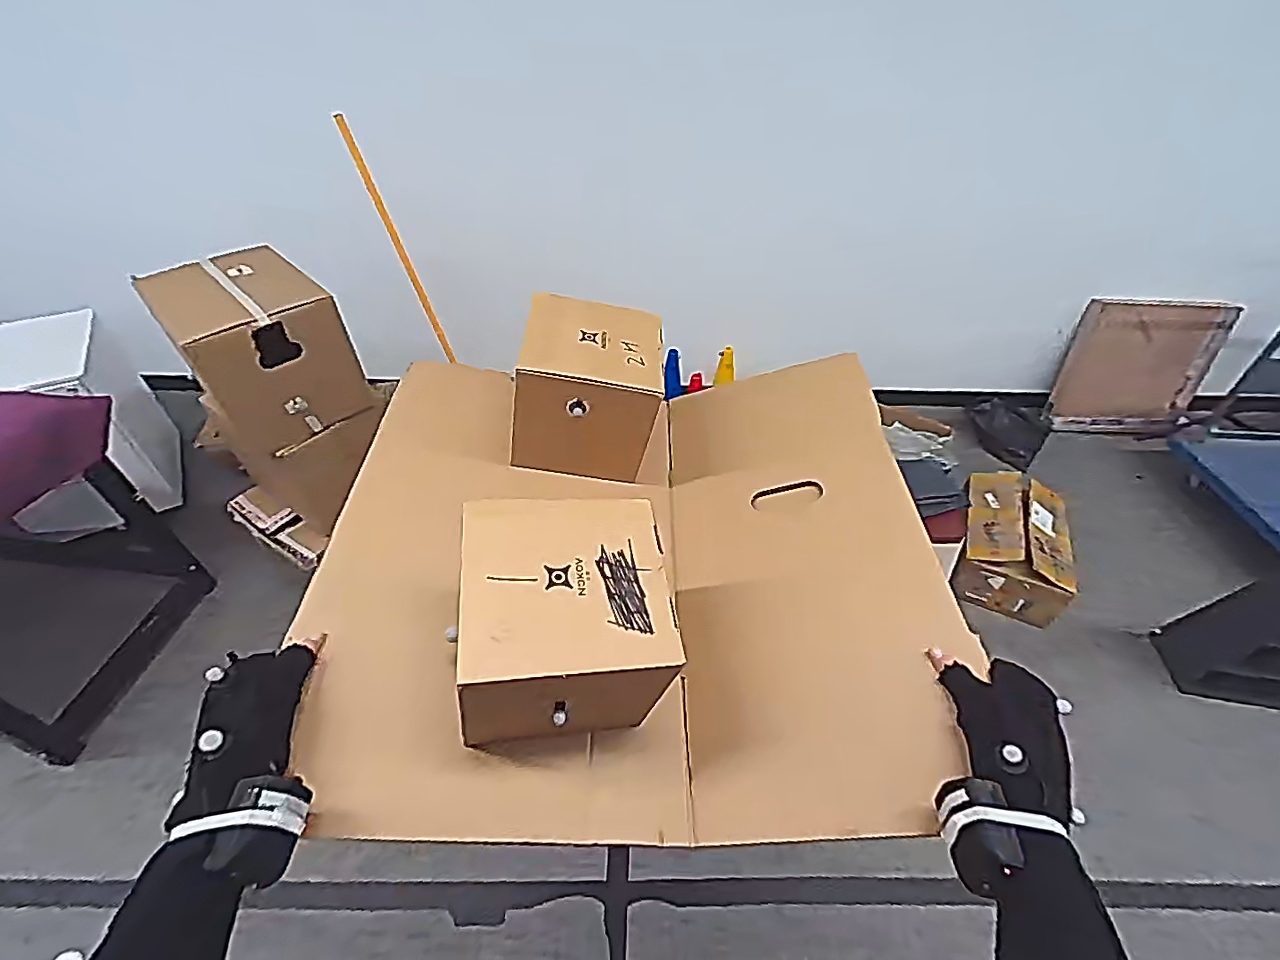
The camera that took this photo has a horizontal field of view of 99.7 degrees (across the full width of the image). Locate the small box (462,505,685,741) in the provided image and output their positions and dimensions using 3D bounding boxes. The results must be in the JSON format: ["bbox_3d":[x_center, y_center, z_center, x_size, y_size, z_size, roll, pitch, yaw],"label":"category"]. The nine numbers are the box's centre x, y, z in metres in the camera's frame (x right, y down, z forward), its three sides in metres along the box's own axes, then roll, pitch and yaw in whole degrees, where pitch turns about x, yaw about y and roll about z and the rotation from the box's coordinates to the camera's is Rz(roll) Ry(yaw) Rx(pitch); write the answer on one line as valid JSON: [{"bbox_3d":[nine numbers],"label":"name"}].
[{"bbox_3d":[-0.075,0.140,0.523,0.179,0.176,0.168,1,51,-15],"label":"small box"}]

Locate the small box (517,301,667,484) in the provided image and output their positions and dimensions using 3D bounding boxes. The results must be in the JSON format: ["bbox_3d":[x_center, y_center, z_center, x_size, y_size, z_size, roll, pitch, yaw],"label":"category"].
[{"bbox_3d":[-0.068,-0.114,0.739,0.179,0.176,0.168,10,49,-9],"label":"small box"}]
